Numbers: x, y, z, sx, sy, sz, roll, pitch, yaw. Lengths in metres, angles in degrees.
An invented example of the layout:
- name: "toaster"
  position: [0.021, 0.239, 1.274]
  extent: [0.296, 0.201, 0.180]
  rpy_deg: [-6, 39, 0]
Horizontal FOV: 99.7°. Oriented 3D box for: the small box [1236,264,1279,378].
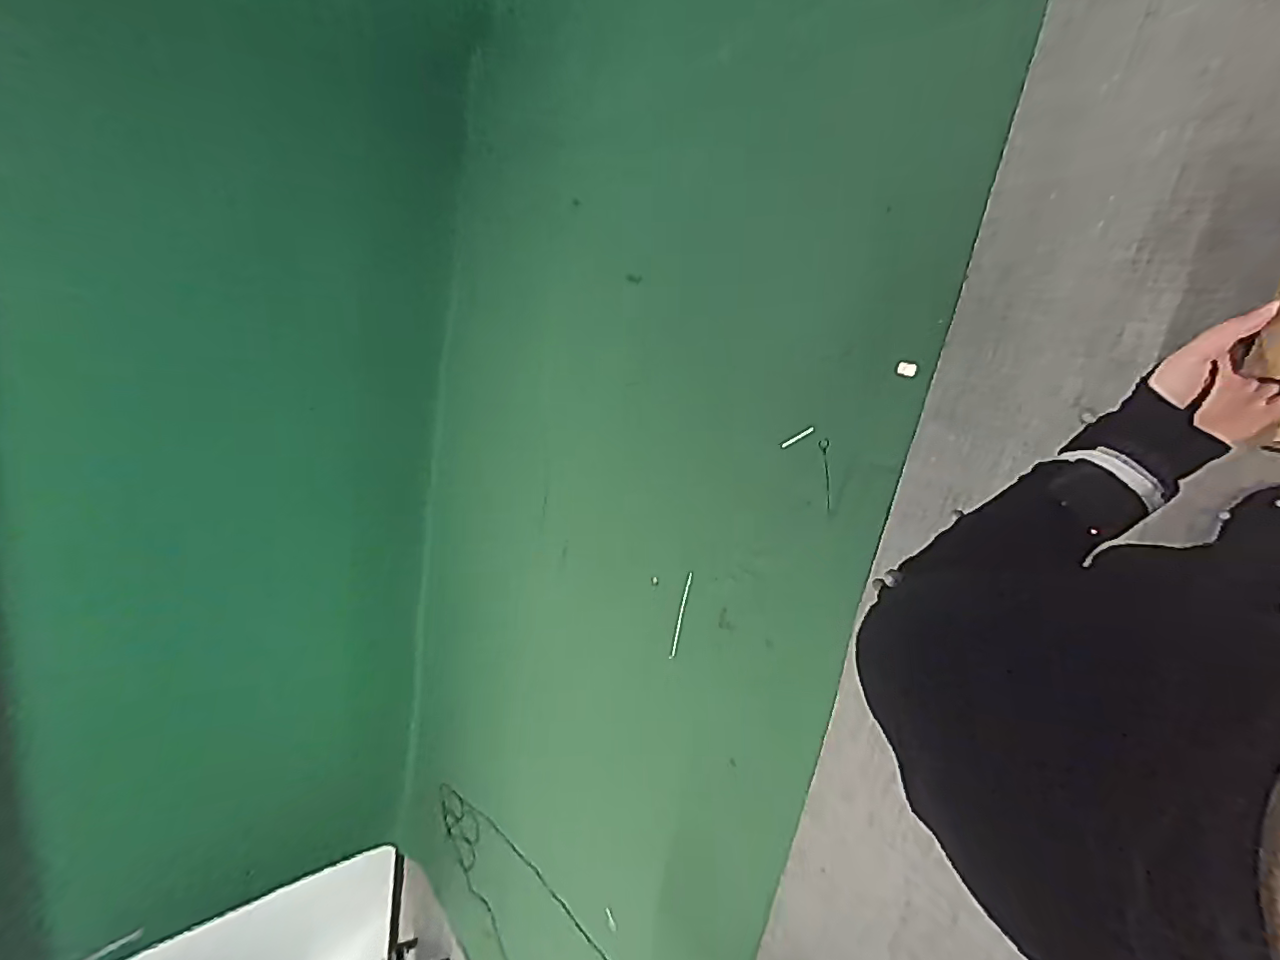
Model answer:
- name: "small box"
  position: [0.552, -0.165, 0.349]
  extent: [0.168, 0.176, 0.179]
  rpy_deg: [28, 143, 41]
